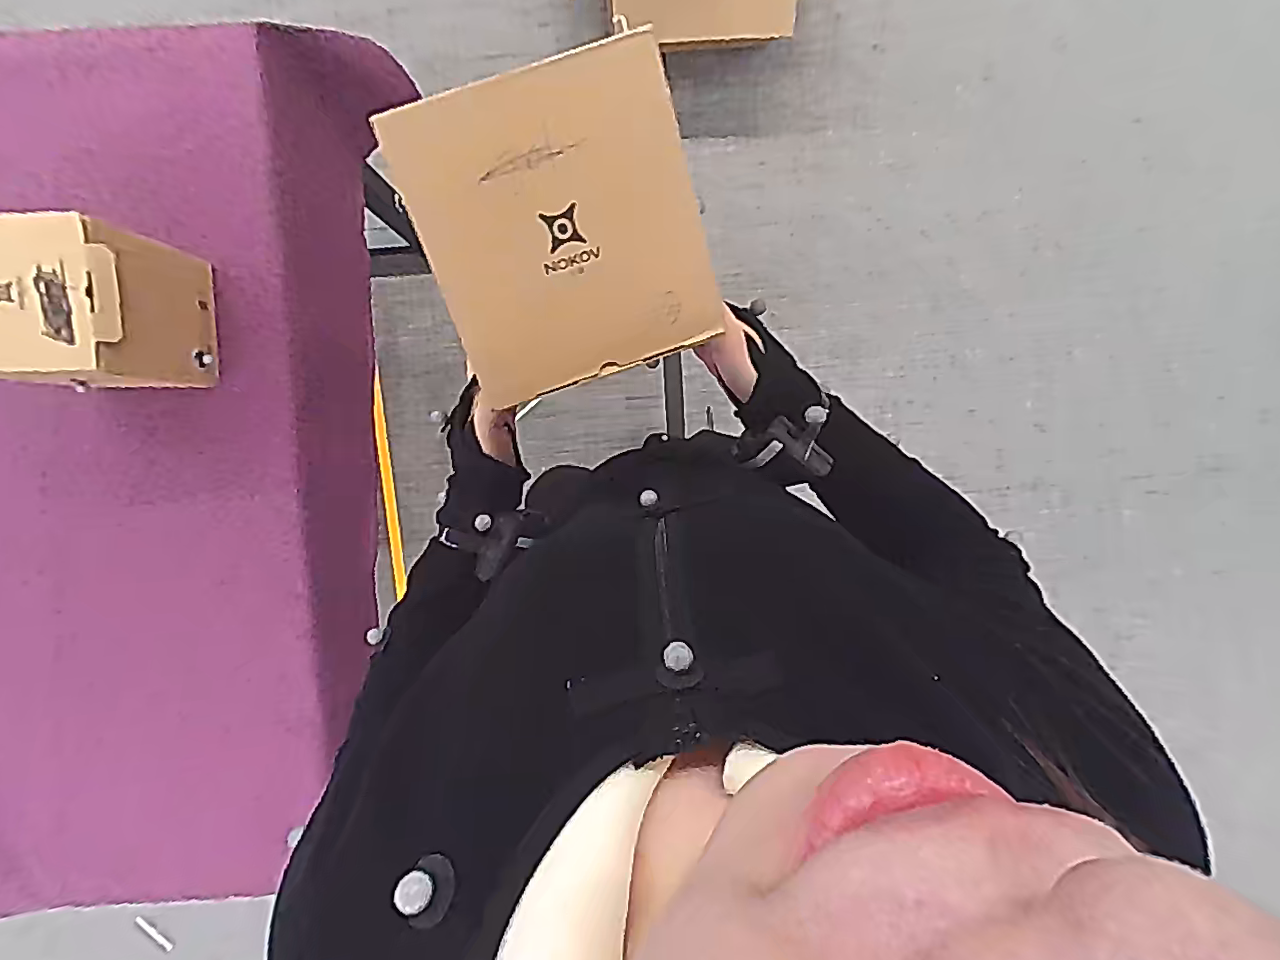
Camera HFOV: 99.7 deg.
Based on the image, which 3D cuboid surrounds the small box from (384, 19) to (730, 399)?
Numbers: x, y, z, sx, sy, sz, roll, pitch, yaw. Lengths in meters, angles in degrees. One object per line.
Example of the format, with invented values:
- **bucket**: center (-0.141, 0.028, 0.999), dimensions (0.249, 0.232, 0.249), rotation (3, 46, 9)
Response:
- **small box**: center (-0.048, -0.177, 0.397), dimensions (0.168, 0.176, 0.179), rotation (-17, 109, -1)

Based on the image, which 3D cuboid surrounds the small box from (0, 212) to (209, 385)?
- **small box**: center (-0.660, -0.205, 0.648), dimensions (0.179, 0.176, 0.168), rotation (0, 95, 1)
